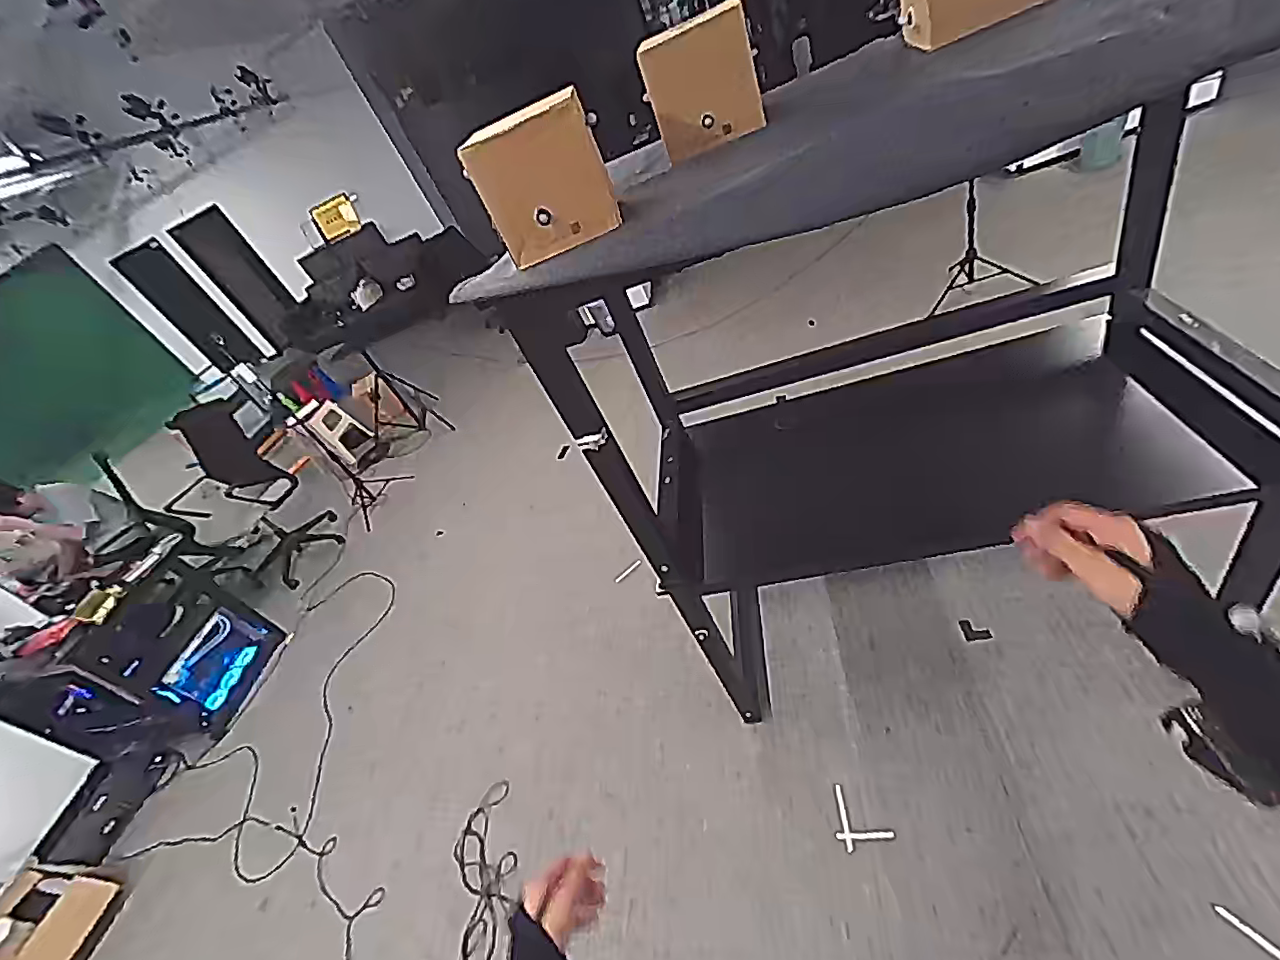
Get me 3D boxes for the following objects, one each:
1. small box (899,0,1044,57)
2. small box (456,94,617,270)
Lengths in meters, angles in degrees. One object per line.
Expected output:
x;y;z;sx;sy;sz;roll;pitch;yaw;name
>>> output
0.491;-0.768;0.800;0.179;0.176;0.168;-13;39;19;small box
-0.141;-0.437;0.800;0.168;0.176;0.179;-19;39;10;small box
